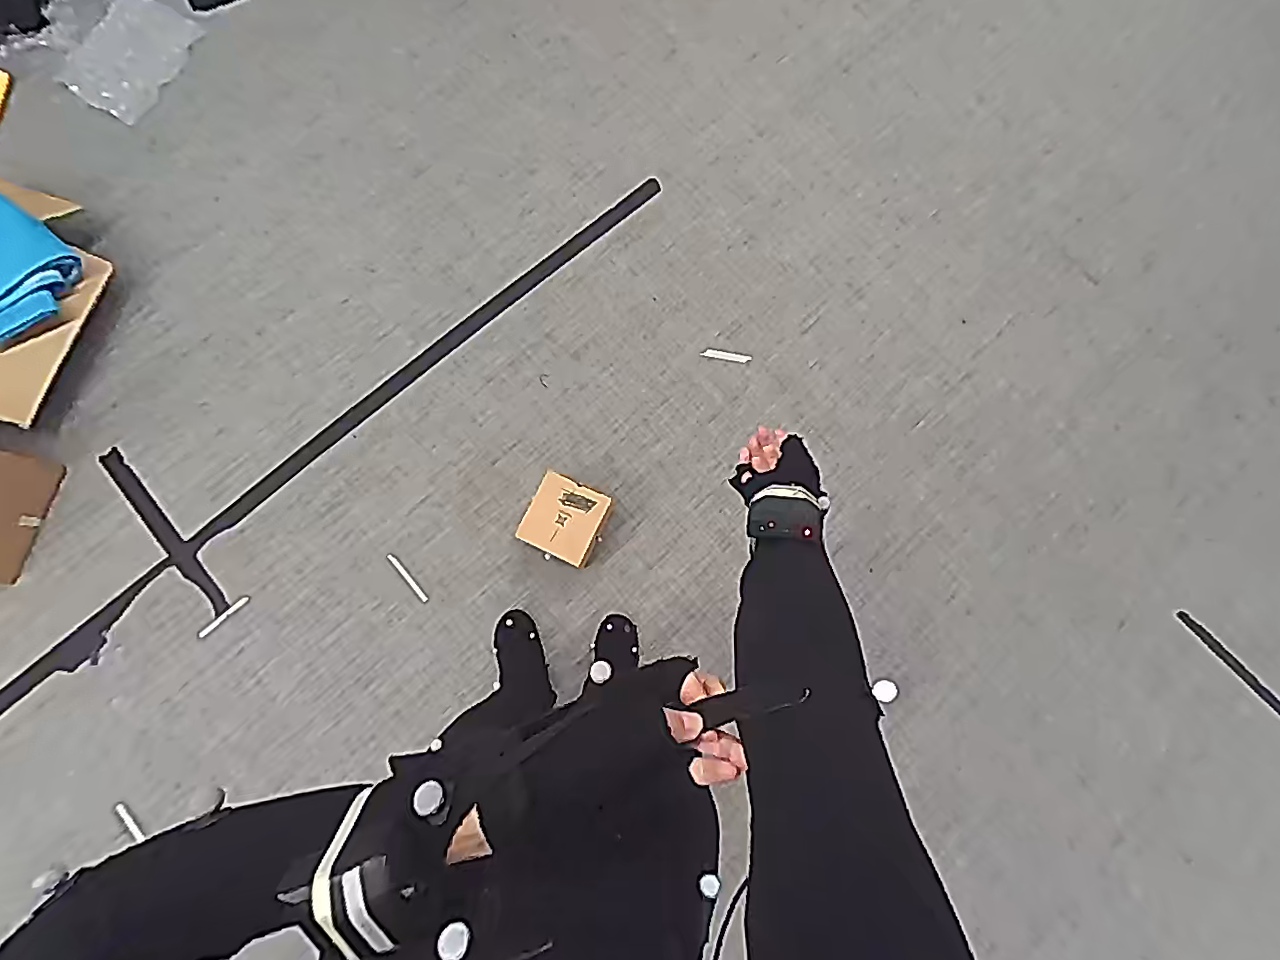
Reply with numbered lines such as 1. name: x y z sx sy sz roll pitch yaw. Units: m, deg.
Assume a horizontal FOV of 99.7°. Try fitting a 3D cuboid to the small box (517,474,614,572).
1. small box: -0.173 0.109 1.306 0.168 0.176 0.179 25 80 3
